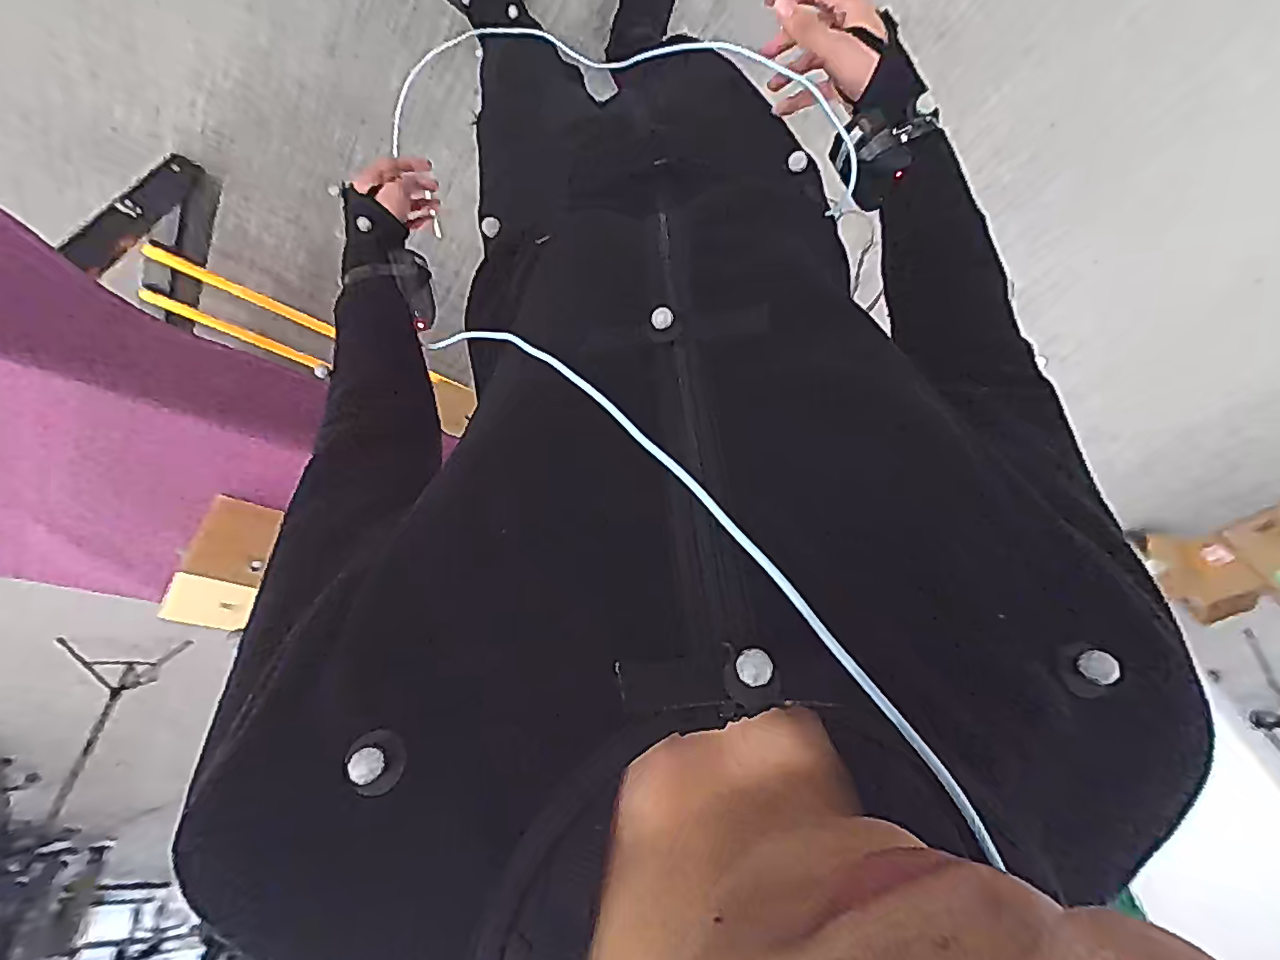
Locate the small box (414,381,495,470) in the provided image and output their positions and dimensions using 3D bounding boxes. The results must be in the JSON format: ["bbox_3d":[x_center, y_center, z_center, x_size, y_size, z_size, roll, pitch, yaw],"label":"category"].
[{"bbox_3d":[-0.543,-0.164,1.599,0.179,0.176,0.168,21,130,-29],"label":"small box"}]

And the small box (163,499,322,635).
[{"bbox_3d":[-0.720,0.158,0.992,0.179,0.176,0.168,24,128,-34],"label":"small box"}]
